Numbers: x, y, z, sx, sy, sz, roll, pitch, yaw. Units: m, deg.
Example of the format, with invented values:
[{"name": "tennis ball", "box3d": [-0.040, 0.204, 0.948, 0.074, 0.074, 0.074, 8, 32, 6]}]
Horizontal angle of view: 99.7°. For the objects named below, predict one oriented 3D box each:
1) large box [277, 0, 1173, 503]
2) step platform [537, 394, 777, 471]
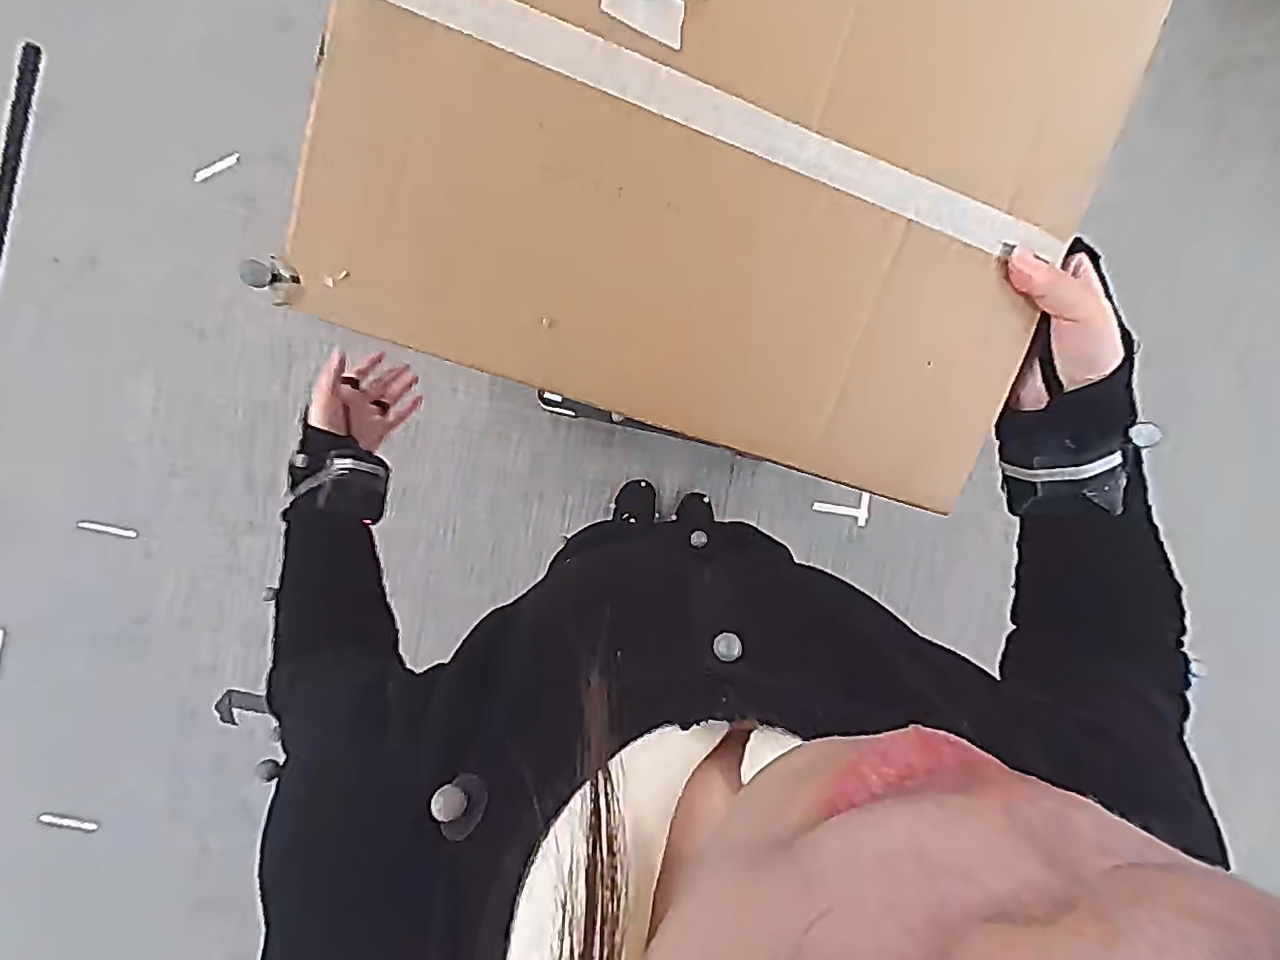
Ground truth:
[{"name": "large box", "box3d": [0.036, -0.207, 0.417, 0.408, 0.320, 0.320, 16, 99, -9]}, {"name": "step platform", "box3d": [0.075, -0.251, 1.393, 0.684, 0.204, 0.286, 18, 91, -1]}]
